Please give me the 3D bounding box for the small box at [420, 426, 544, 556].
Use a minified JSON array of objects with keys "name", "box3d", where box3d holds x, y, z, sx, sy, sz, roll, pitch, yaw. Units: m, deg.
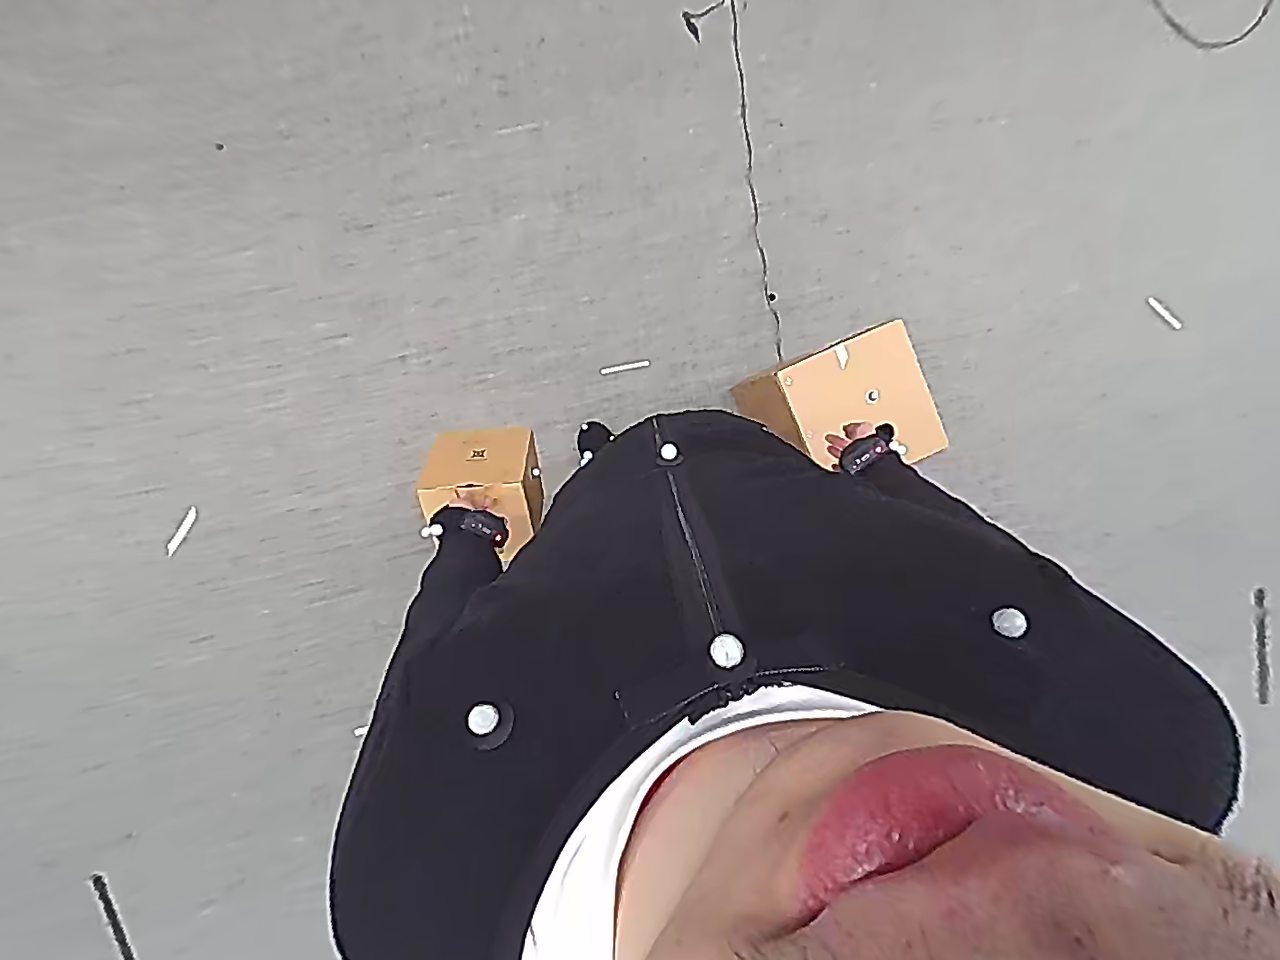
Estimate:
[{"name":"small box","box3d":[-0.267,0.023,0.962,0.168,0.179,0.176,-3,127,-2]}]
